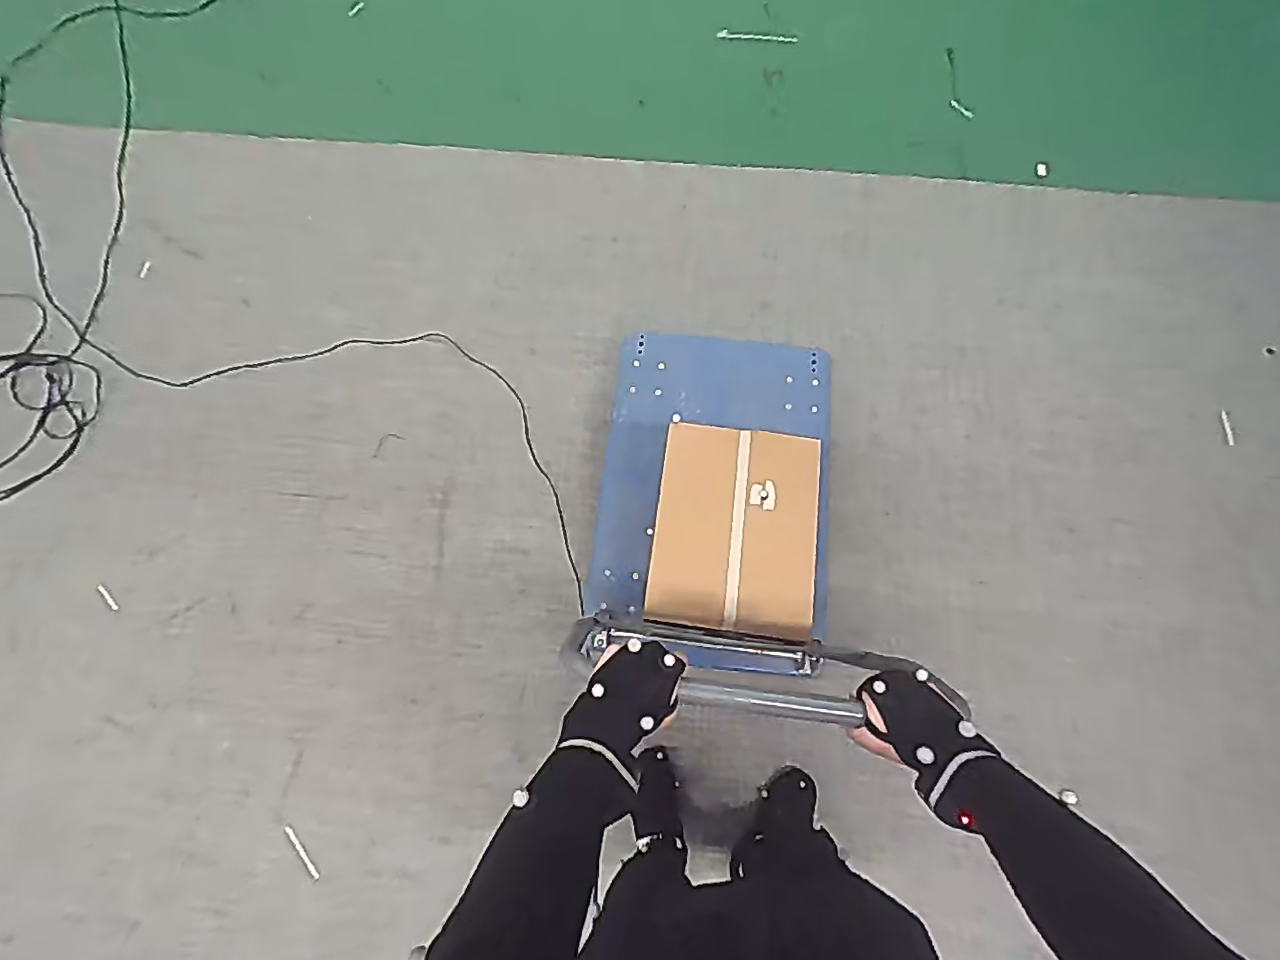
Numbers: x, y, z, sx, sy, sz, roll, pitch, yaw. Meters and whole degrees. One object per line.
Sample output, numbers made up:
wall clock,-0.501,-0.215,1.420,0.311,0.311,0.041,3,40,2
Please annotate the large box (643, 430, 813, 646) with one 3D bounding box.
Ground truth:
large box,0.183,0.146,1.199,0.320,0.320,0.408,7,73,2
